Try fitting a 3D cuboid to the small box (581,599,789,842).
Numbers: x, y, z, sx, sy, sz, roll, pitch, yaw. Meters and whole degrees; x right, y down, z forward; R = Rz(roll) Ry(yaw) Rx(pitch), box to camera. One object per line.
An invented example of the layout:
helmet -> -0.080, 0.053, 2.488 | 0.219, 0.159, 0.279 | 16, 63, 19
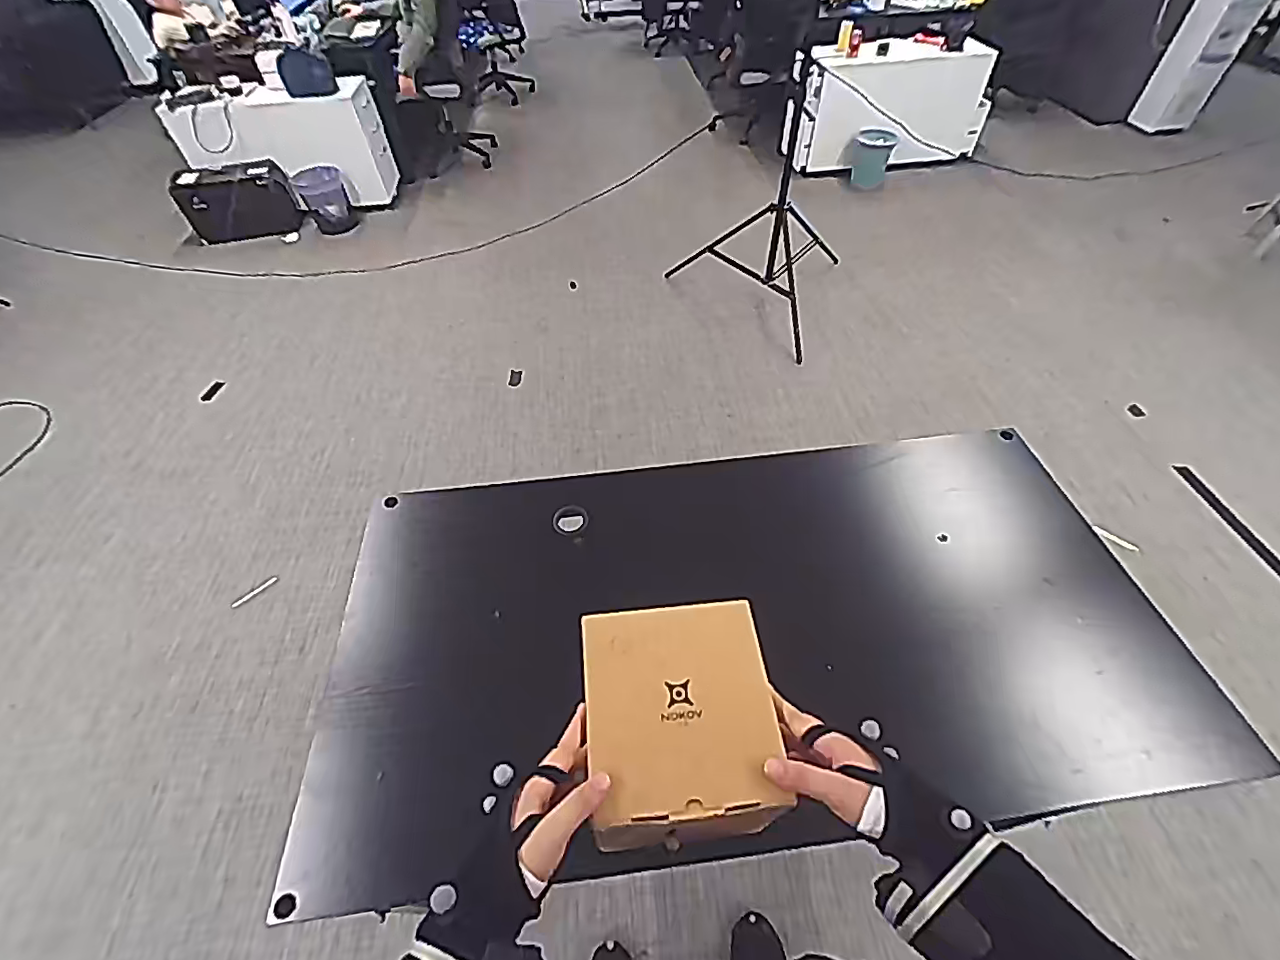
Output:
small box -> 0.029, 0.240, 0.538 | 0.168, 0.176, 0.179 | -4, 52, -4
